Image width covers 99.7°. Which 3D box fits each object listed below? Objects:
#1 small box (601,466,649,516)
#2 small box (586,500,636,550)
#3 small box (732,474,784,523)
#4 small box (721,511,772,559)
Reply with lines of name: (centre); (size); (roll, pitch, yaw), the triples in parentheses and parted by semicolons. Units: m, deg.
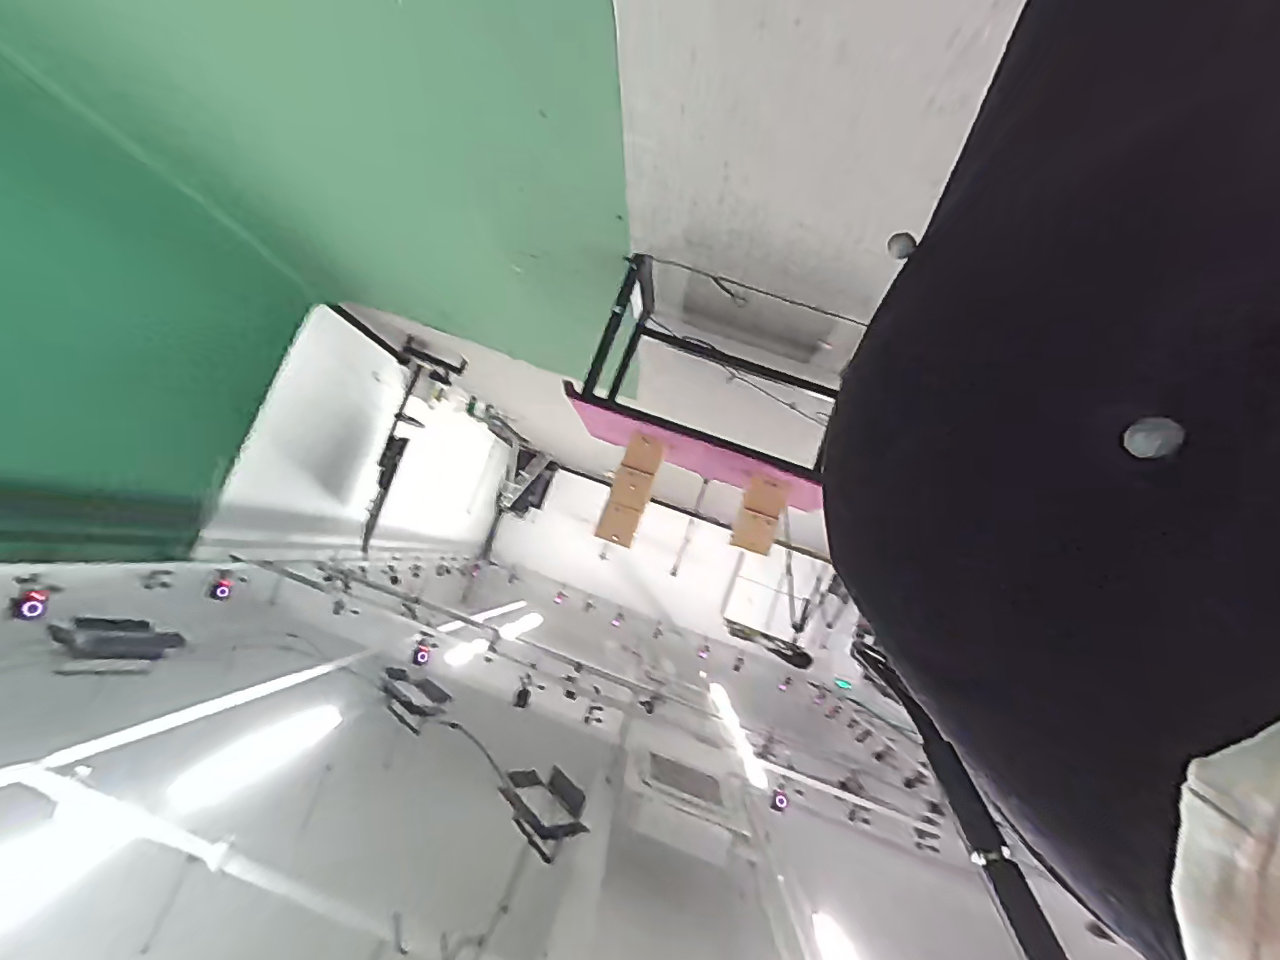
small box: (-0.064, 0.047, 2.398); (0.168, 0.176, 0.179); (20, 173, 4)
small box: (-0.124, 0.198, 2.377); (0.168, 0.176, 0.179); (19, 173, 6)
small box: (0.520, 0.086, 2.383); (0.168, 0.176, 0.179); (20, 172, 5)
small box: (0.465, 0.237, 2.352); (0.168, 0.176, 0.179); (19, 174, 5)
